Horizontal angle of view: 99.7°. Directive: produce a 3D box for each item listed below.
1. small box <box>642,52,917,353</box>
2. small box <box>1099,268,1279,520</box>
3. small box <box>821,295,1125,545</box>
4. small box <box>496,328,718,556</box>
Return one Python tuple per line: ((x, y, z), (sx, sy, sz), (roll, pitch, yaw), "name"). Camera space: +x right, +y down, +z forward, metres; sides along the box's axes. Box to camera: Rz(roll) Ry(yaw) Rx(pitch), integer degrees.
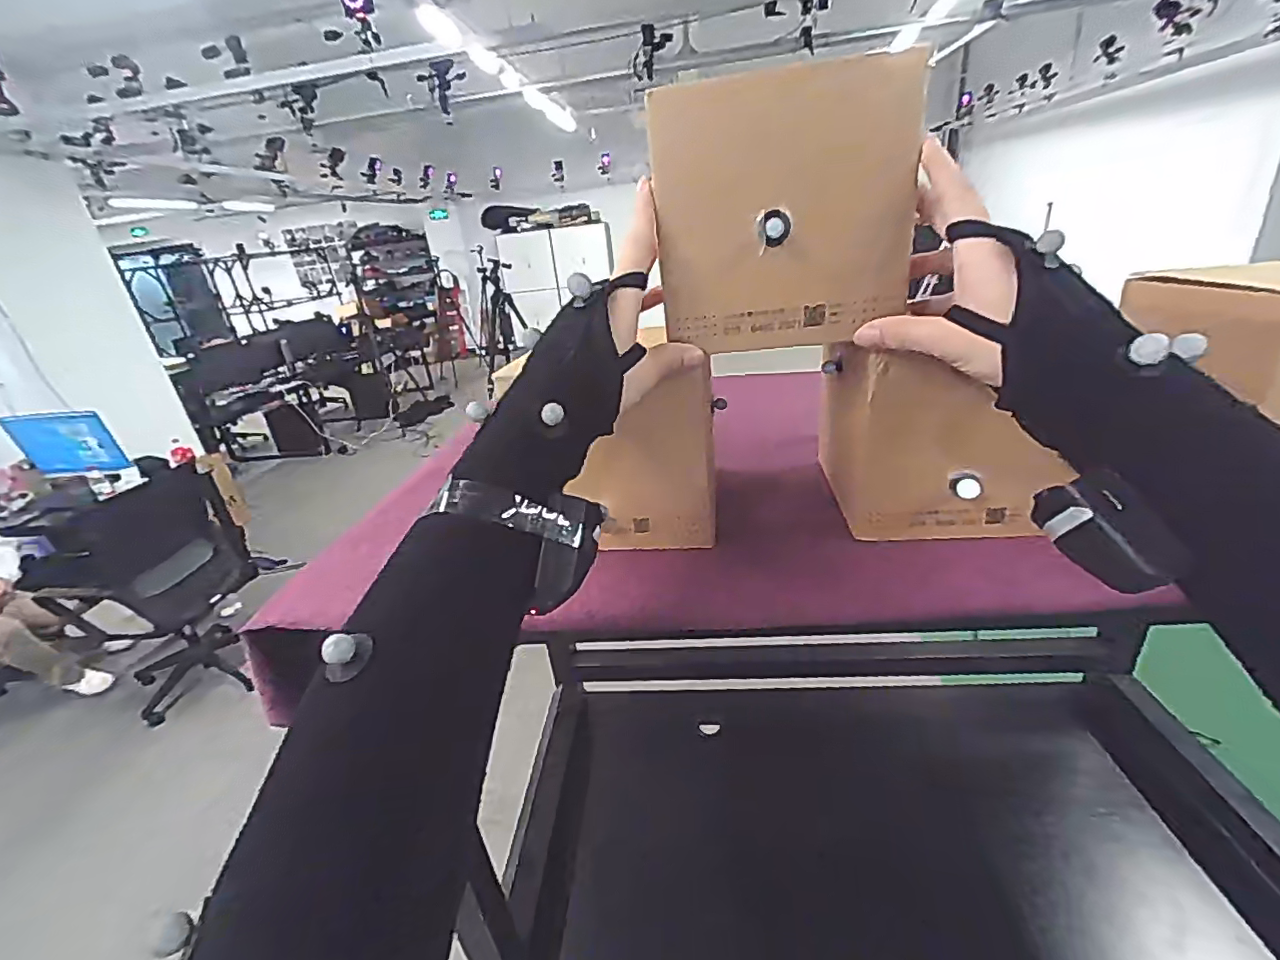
((0.101, -0.200, 0.429), (0.168, 0.176, 0.179), (-3, 25, 9), "small box")
((0.530, -0.079, 0.445), (0.168, 0.176, 0.179), (-4, 23, 10), "small box")
((0.259, -0.059, 0.476), (0.168, 0.176, 0.179), (-3, 26, 9), "small box")
((-0.015, -0.044, 0.519), (0.168, 0.176, 0.179), (-3, 25, 11), "small box")
